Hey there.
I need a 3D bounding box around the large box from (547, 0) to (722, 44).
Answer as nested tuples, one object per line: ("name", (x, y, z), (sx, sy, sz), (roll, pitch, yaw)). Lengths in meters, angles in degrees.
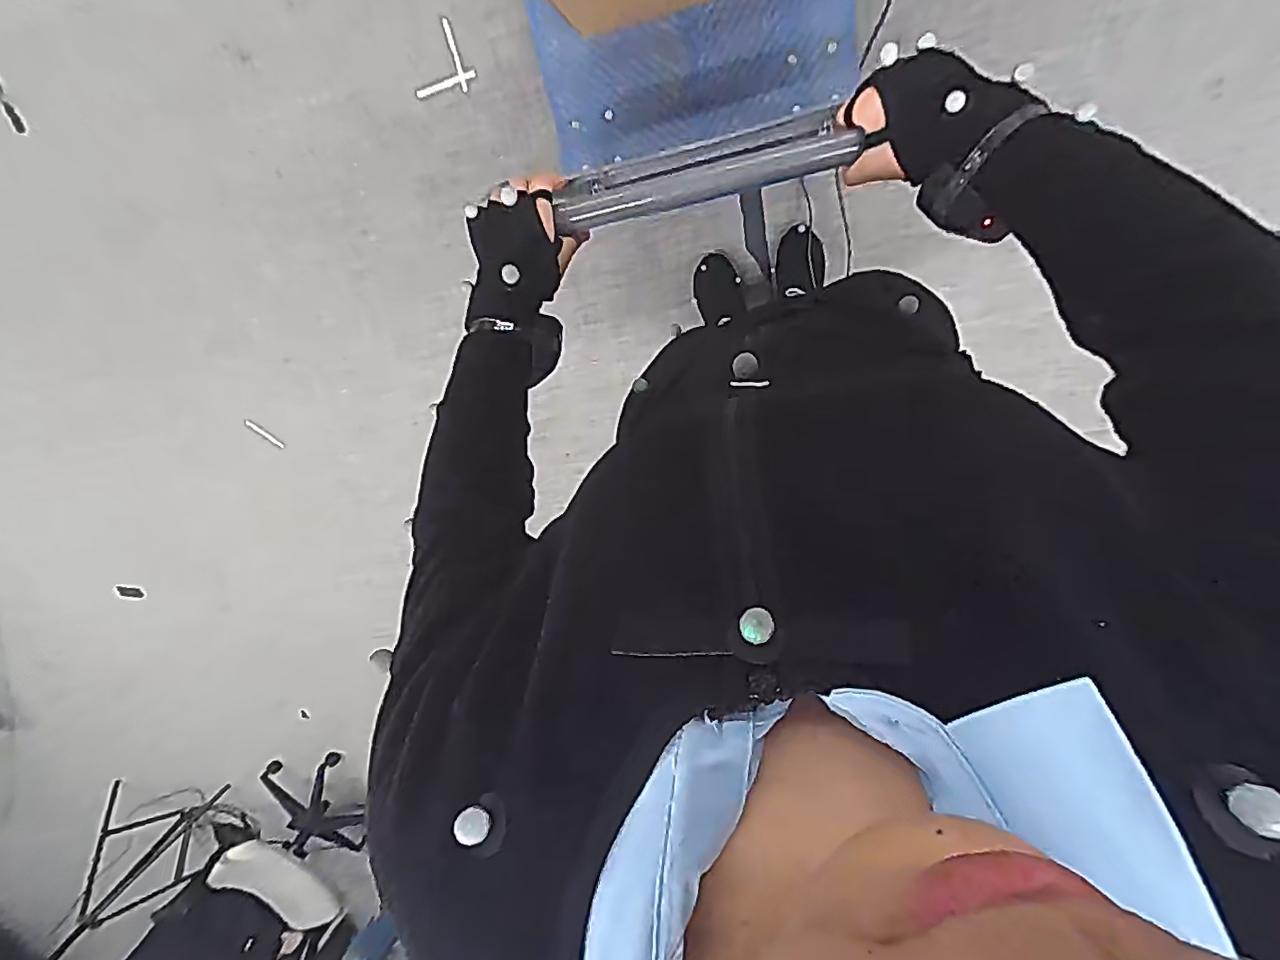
("large box", (0.037, -0.929, 0.803), (0.408, 0.320, 0.320), (-7, 113, 14))
